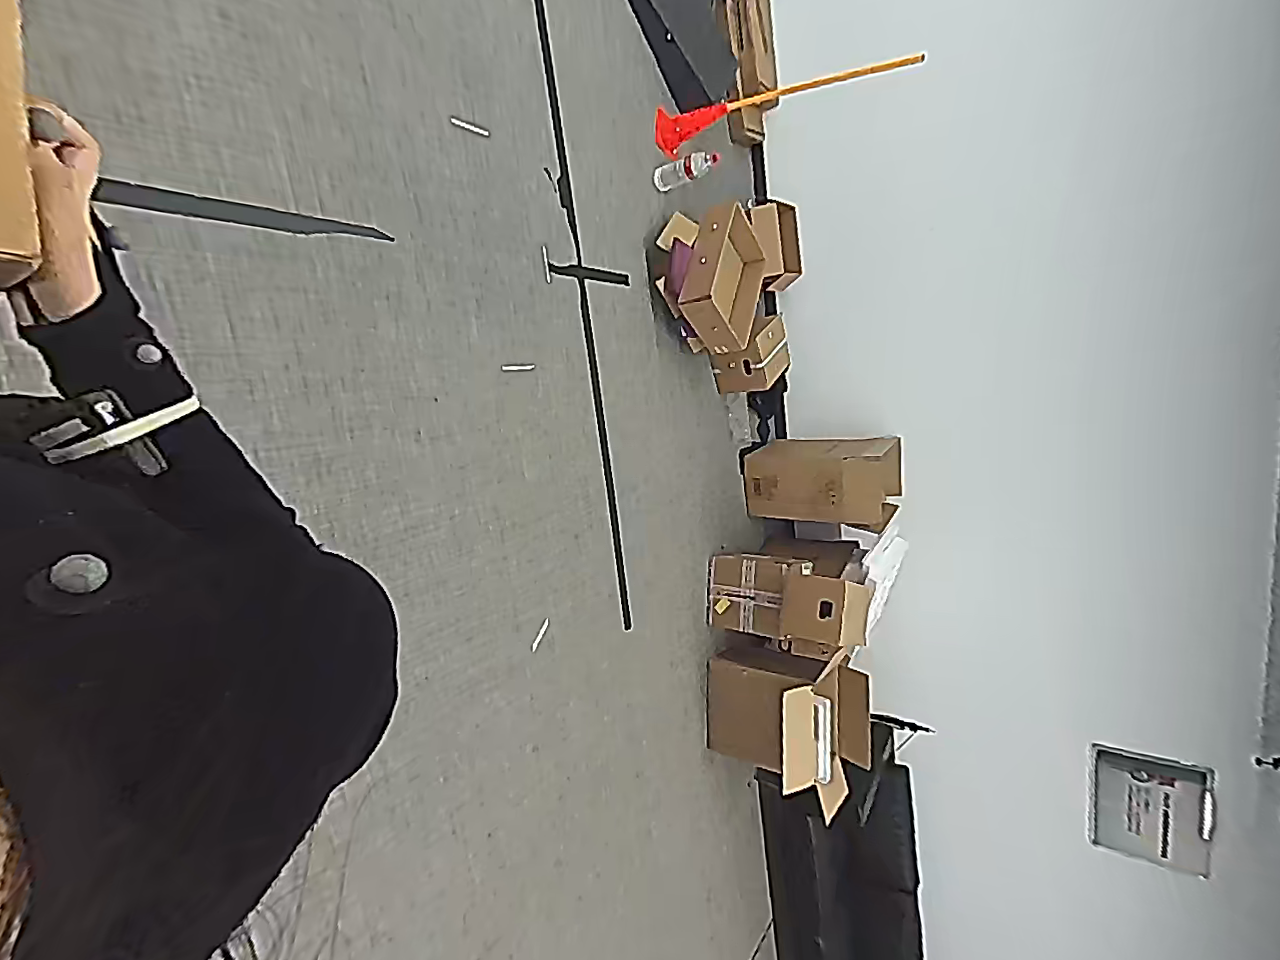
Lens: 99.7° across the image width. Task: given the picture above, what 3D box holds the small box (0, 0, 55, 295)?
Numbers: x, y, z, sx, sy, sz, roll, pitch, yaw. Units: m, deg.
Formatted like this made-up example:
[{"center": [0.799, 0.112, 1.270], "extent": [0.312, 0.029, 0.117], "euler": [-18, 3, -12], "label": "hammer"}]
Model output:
[{"center": [-0.396, -0.190, 0.234], "extent": [0.168, 0.176, 0.179], "euler": [-6, 100, -56], "label": "small box"}]
